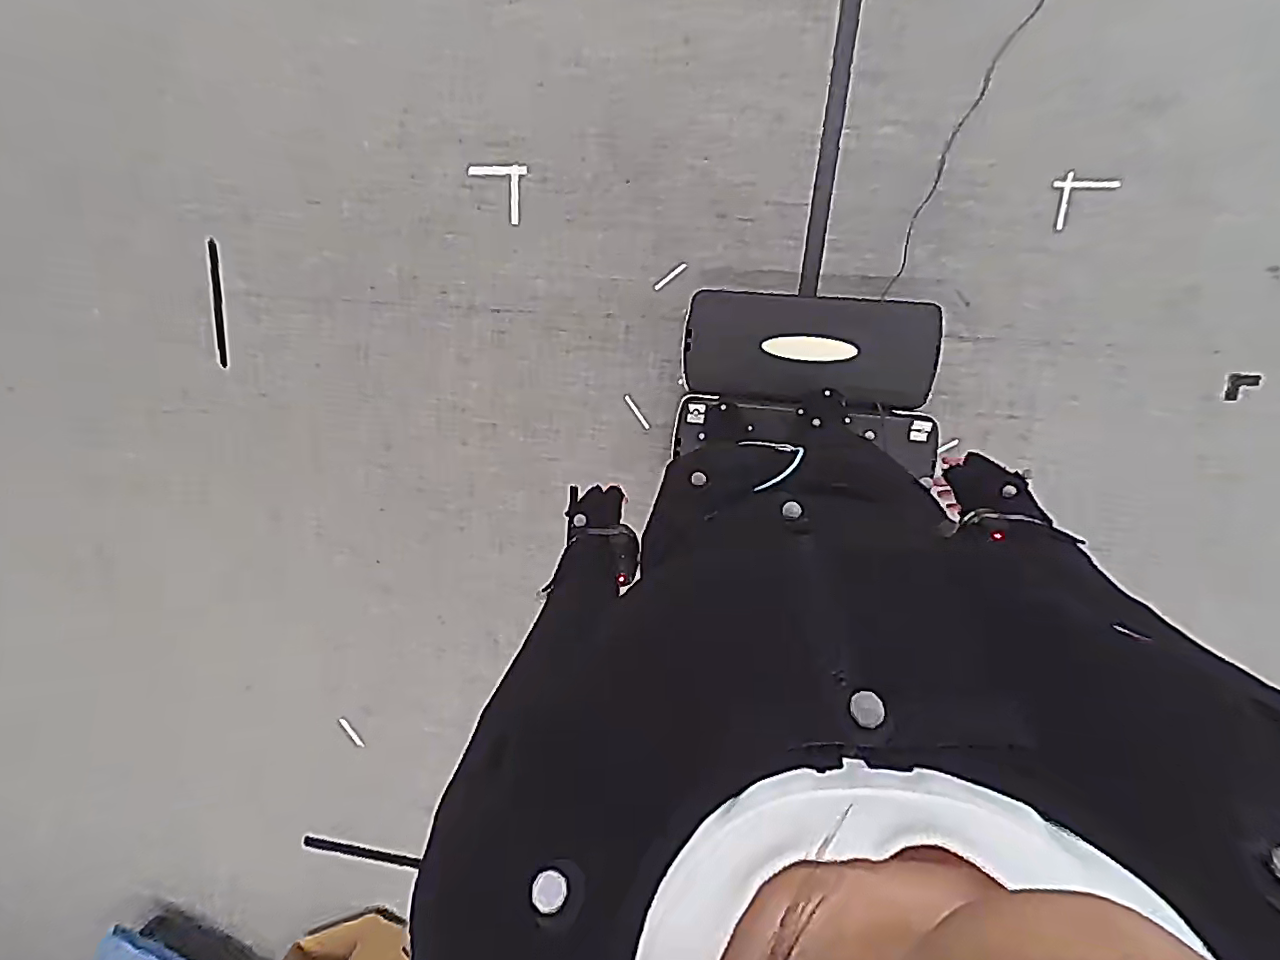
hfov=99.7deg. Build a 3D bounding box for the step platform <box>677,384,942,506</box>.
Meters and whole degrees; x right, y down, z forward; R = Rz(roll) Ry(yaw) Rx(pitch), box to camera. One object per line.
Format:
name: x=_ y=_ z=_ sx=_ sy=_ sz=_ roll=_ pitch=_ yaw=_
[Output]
step platform: x=0.444 y=-0.103 z=1.491 sx=0.684 sy=0.204 sz=0.286 roll=5 pitch=101 yaw=8
